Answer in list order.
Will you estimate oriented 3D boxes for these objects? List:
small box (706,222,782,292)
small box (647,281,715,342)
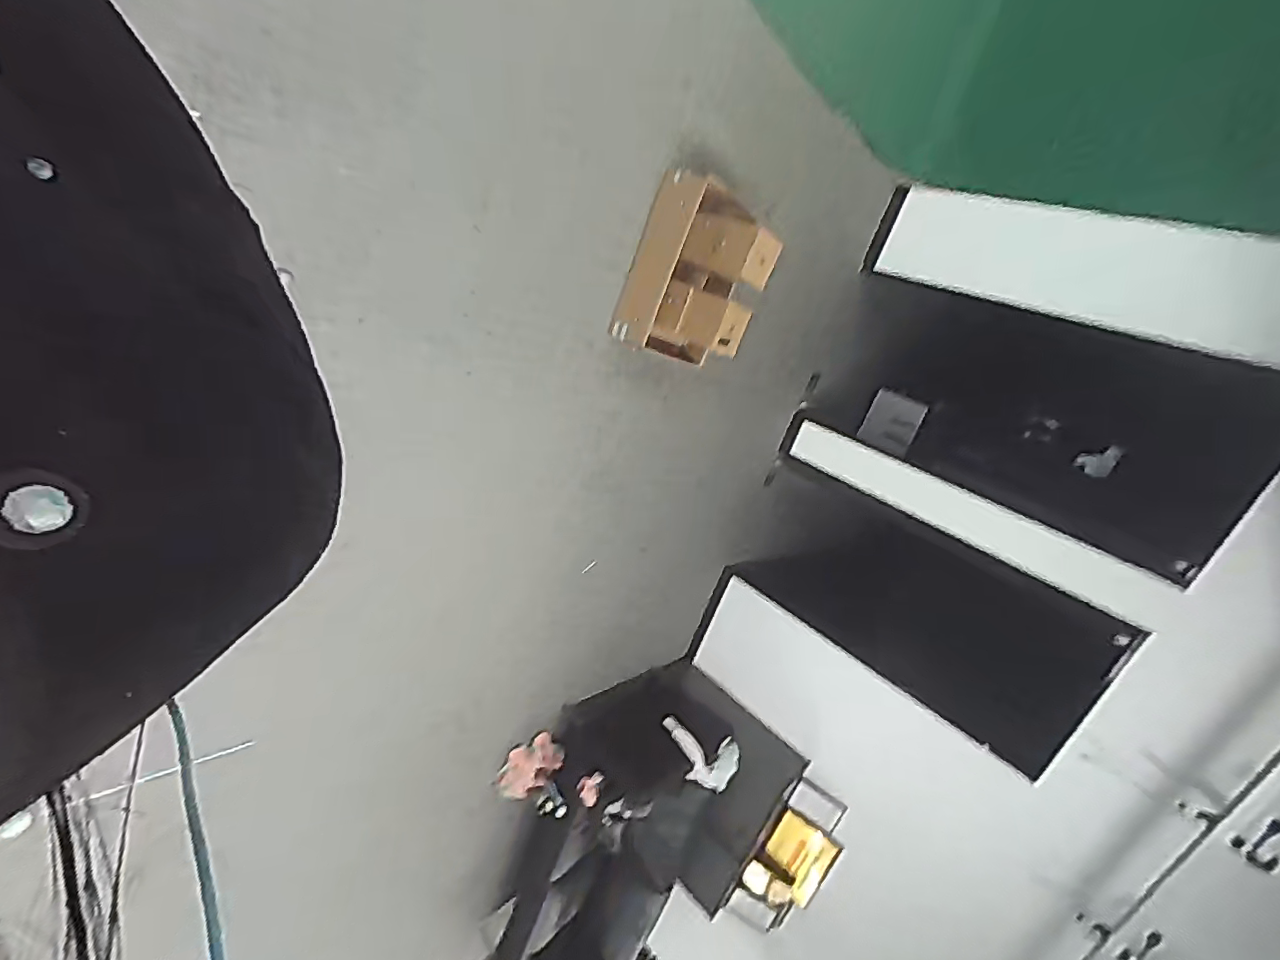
[{"bbox_3d":[0.366,-0.792,1.913,0.179,0.176,0.168,5,112,-51],"label":"small box"},{"bbox_3d":[0.153,-0.644,2.061,0.168,0.176,0.179,-1,115,-49],"label":"small box"}]
